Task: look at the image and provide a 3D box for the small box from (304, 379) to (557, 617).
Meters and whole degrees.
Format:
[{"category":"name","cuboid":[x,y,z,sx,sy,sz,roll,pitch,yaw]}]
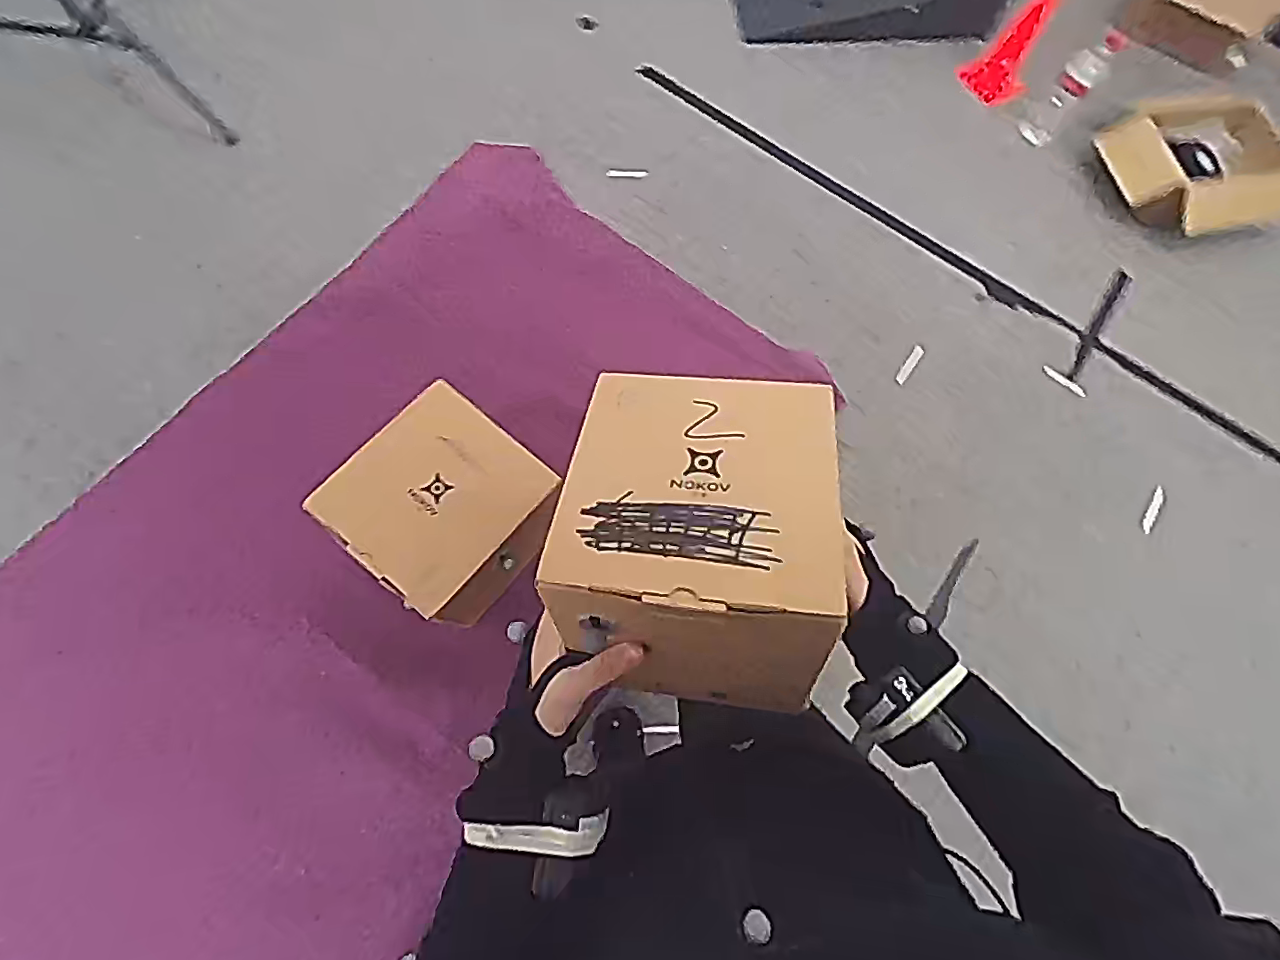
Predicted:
[{"category":"small box","cuboid":[-0.203,0.032,0.588,0.168,0.176,0.179,38,73,6]}]
